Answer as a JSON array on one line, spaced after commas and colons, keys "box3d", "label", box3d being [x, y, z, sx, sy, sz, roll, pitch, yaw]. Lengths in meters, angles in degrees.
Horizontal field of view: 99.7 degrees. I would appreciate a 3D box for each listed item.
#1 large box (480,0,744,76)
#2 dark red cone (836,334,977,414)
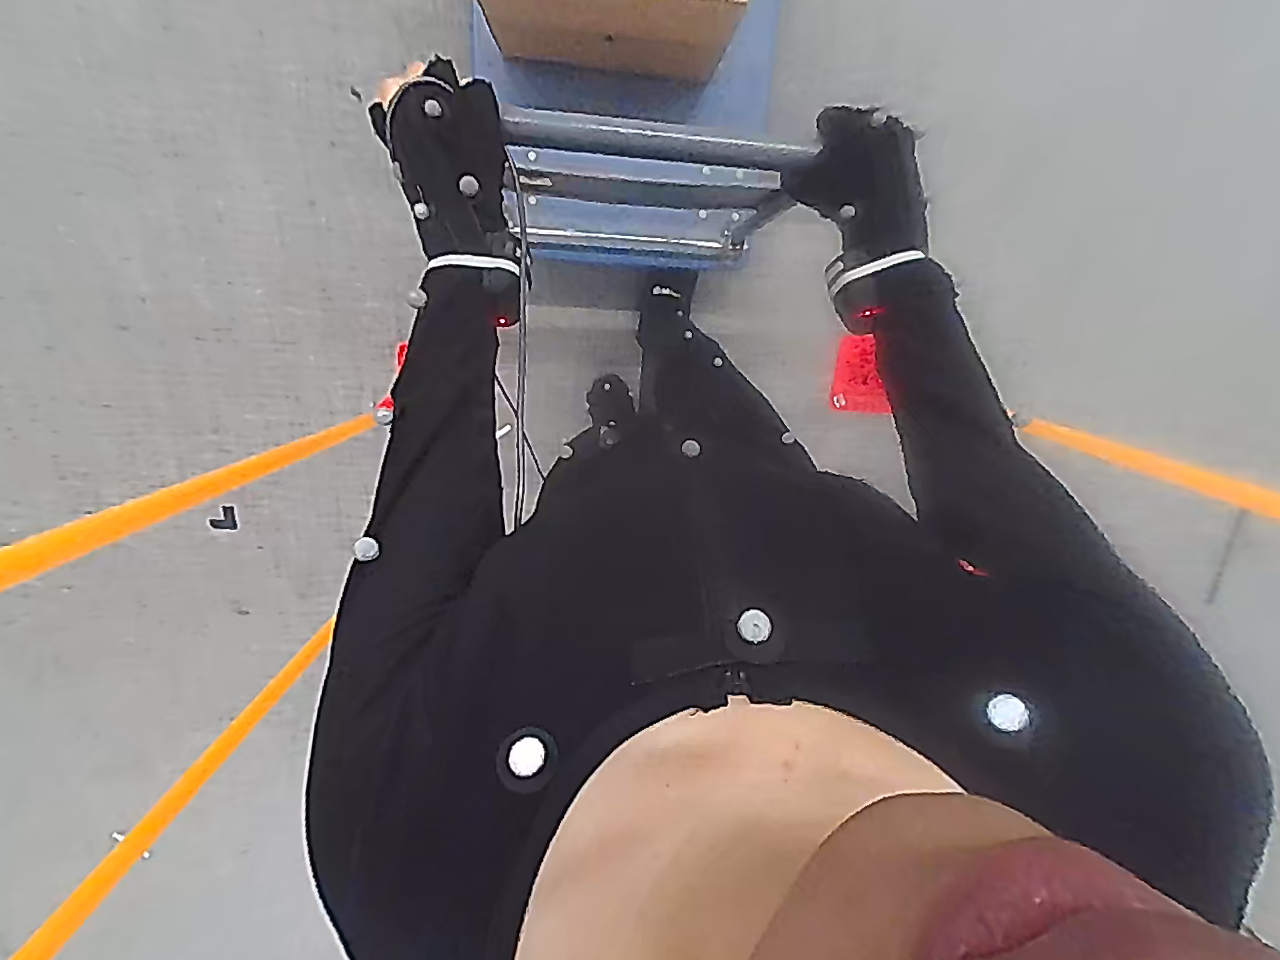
[{"box3d": [-0.042, -0.891, 0.858, 0.408, 0.320, 0.320, 3, 108, -4], "label": "large box"}, {"box3d": [0.631, -0.224, 1.253, 0.201, 0.394, 0.202, 1, 108, -6], "label": "dark red cone"}]
